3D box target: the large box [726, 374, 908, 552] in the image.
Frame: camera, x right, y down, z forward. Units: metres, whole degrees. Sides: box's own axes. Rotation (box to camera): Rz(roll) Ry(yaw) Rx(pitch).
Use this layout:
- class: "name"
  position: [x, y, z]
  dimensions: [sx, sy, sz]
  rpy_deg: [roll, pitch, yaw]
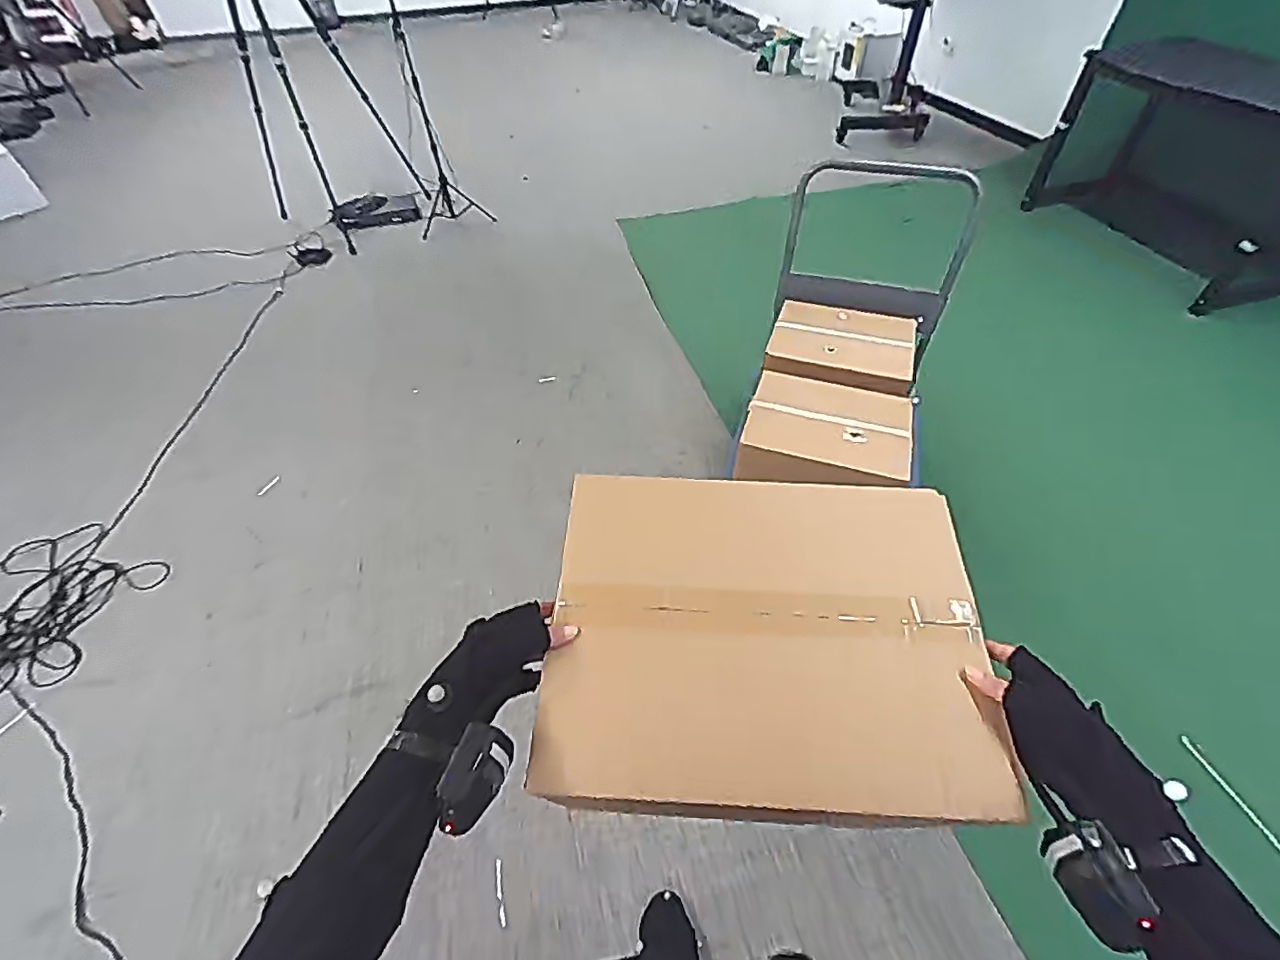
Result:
- class: "large box"
  position: [0.481, -0.049, 1.507]
  dimensions: [0.408, 0.320, 0.320]
  rpy_deg: [15, 50, 13]
